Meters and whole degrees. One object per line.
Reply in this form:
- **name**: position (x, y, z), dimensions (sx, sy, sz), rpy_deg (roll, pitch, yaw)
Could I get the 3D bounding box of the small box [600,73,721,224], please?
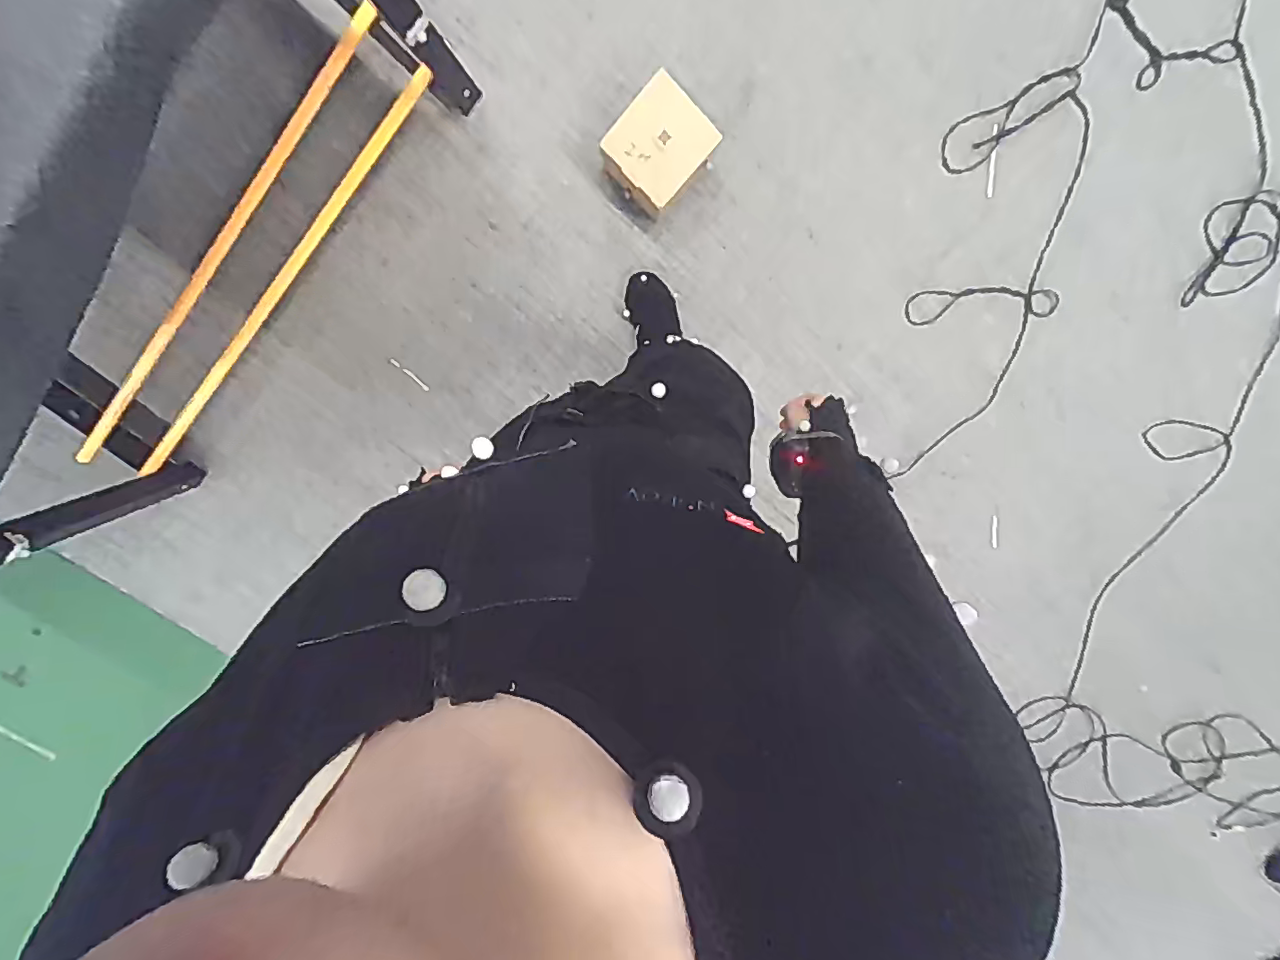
- **small box**: position (0.035, -0.655, 1.095), dimensions (0.168, 0.176, 0.179), rpy_deg (42, 102, -11)
